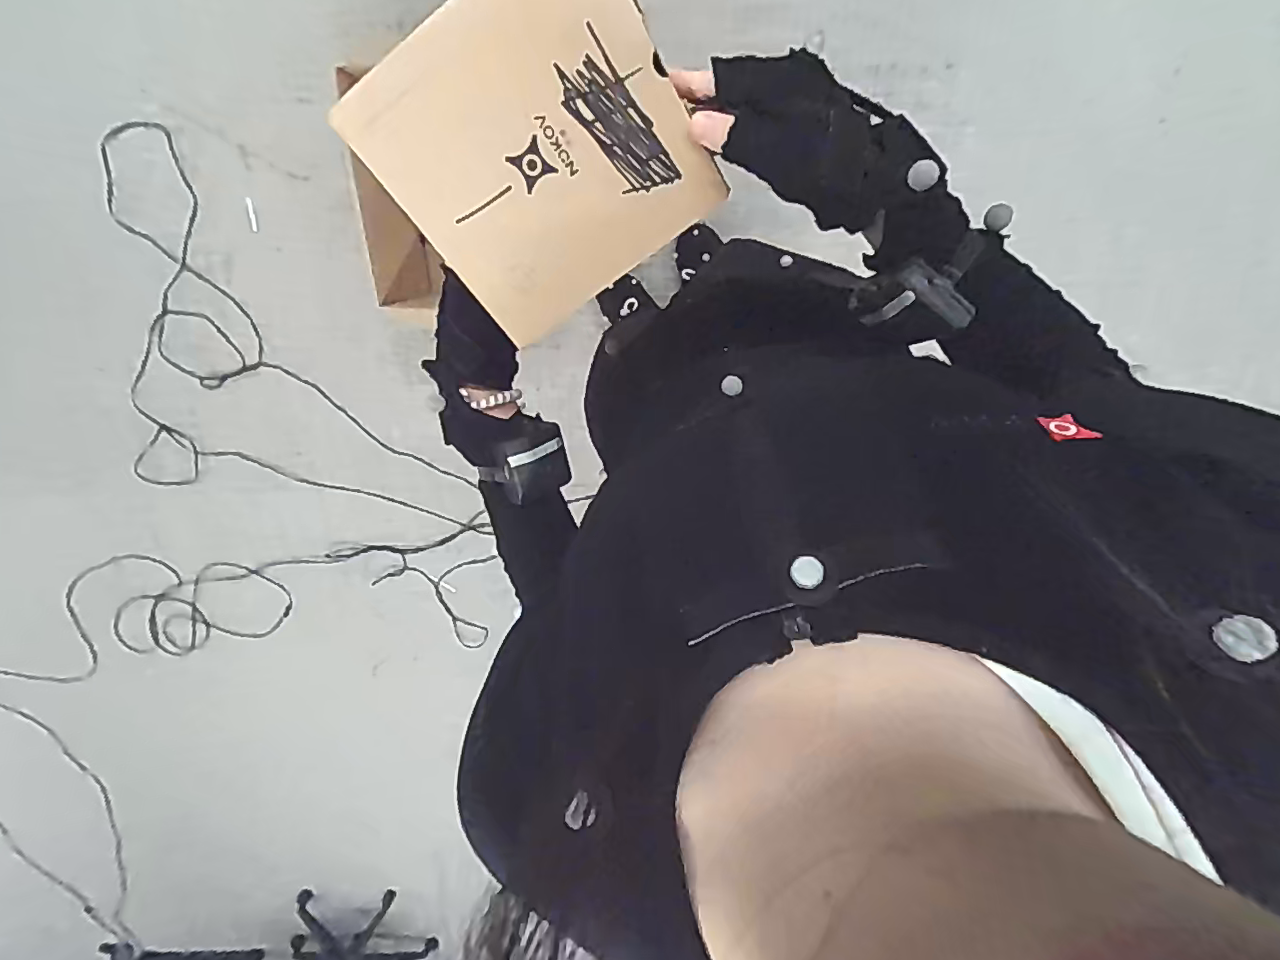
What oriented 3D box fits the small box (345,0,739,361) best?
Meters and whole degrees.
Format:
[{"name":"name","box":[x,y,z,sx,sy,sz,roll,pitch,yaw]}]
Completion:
[{"name":"small box","box":[-0.061,-0.222,0.384,0.179,0.176,0.168,-32,122,11]}]

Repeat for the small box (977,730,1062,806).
[{"name":"small box","box":[1.309,1.001,1.882,0.168,0.176,0.179,-2,113,1]}]
